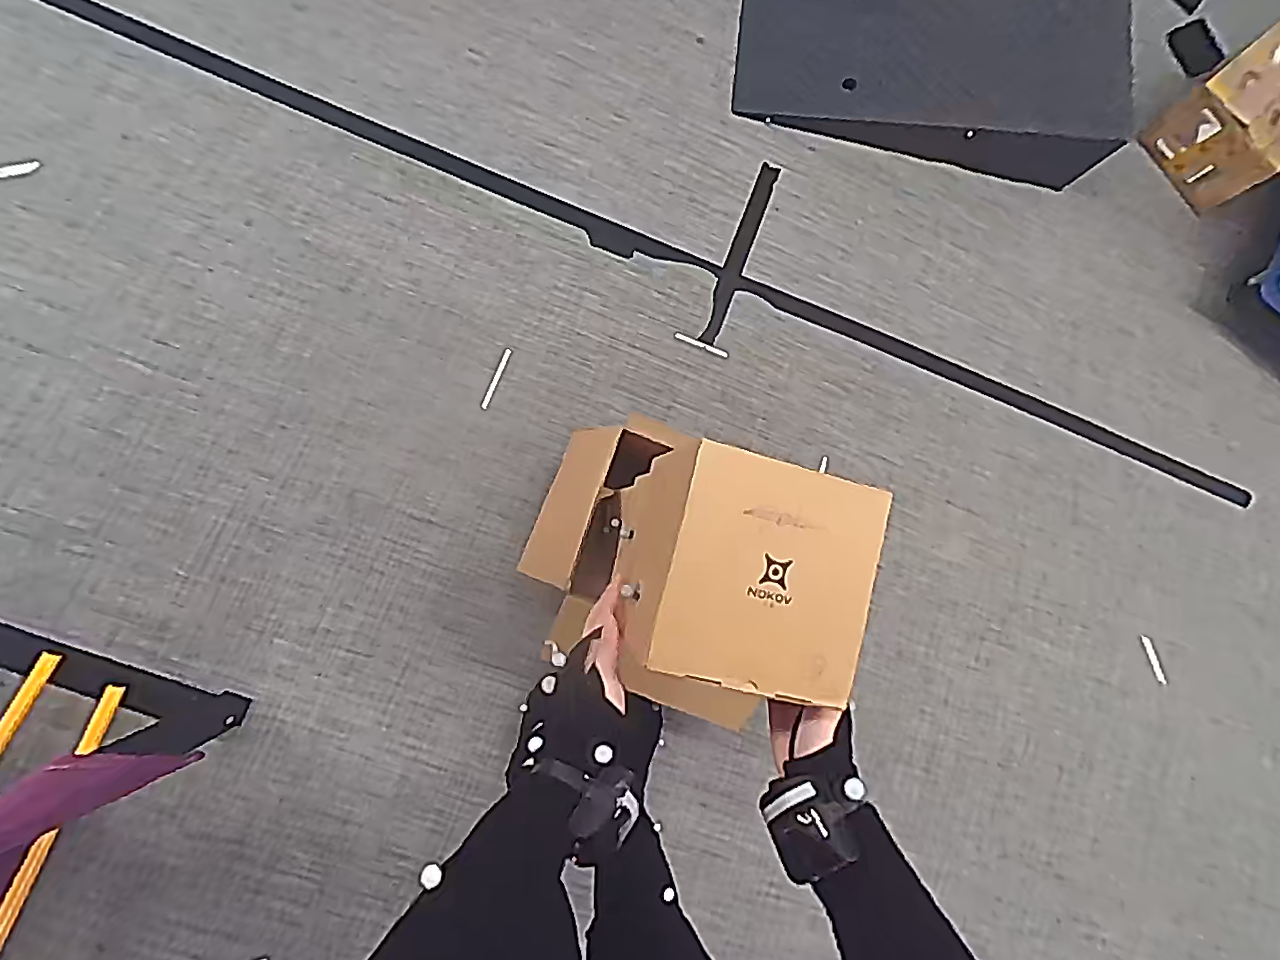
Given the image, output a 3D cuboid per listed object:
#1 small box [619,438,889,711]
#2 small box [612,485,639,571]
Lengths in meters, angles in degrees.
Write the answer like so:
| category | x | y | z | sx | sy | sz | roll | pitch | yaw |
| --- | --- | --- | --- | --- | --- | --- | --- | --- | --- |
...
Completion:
| category | x | y | z | sx | sy | sz | roll | pitch | yaw |
| --- | --- | --- | --- | --- | --- | --- | --- | --- | --- |
| small box | 0.085 | 0.076 | 0.485 | 0.168 | 0.176 | 0.179 | 16 | 84 | -10 |
| small box | 0.045 | 0.098 | 0.978 | 0.179 | 0.176 | 0.168 | 0 | 86 | -12 |
